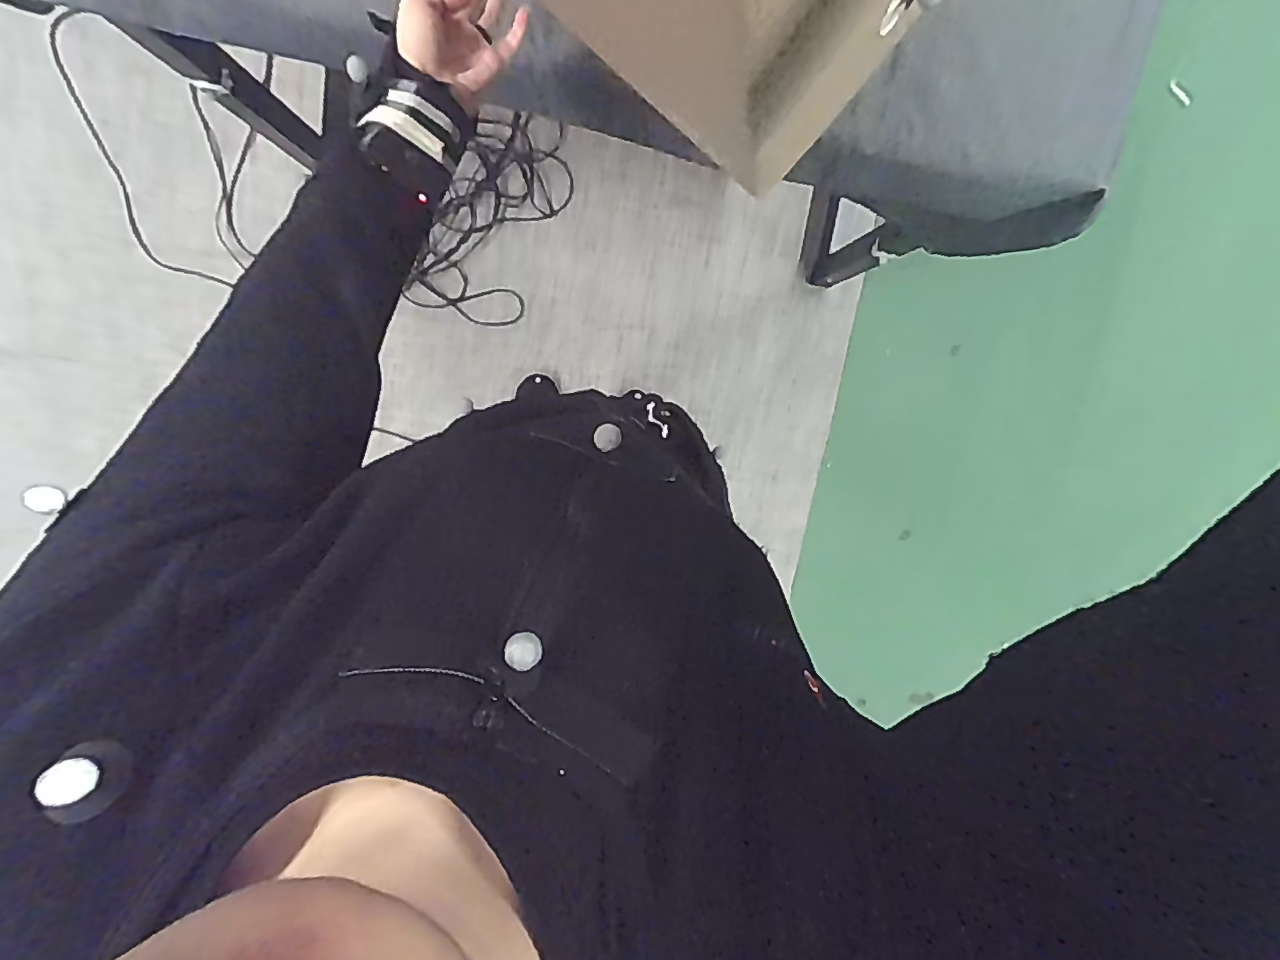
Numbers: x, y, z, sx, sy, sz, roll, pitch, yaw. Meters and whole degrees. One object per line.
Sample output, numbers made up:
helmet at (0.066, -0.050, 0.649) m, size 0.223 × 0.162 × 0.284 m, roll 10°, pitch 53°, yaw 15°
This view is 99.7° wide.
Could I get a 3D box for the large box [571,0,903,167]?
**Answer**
large box at (0.035, -0.382, 0.193) m, size 0.320 × 0.408 × 0.320 m, roll 40°, pitch 113°, yaw -5°
